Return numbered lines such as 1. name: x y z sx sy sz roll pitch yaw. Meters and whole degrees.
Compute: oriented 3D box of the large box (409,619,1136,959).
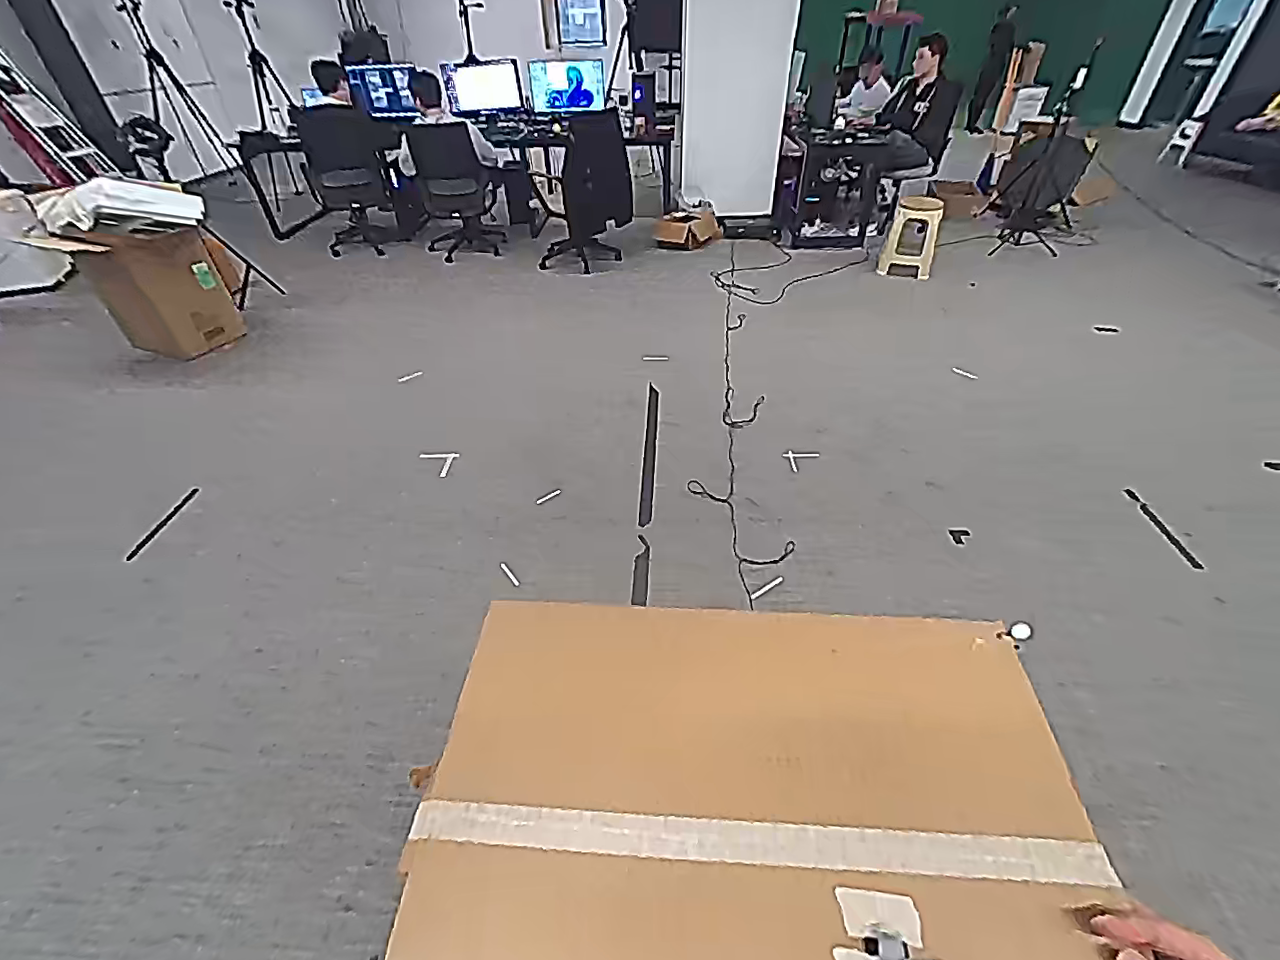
1. large box: 0.074 0.331 0.436 0.408 0.320 0.320 2 47 3
